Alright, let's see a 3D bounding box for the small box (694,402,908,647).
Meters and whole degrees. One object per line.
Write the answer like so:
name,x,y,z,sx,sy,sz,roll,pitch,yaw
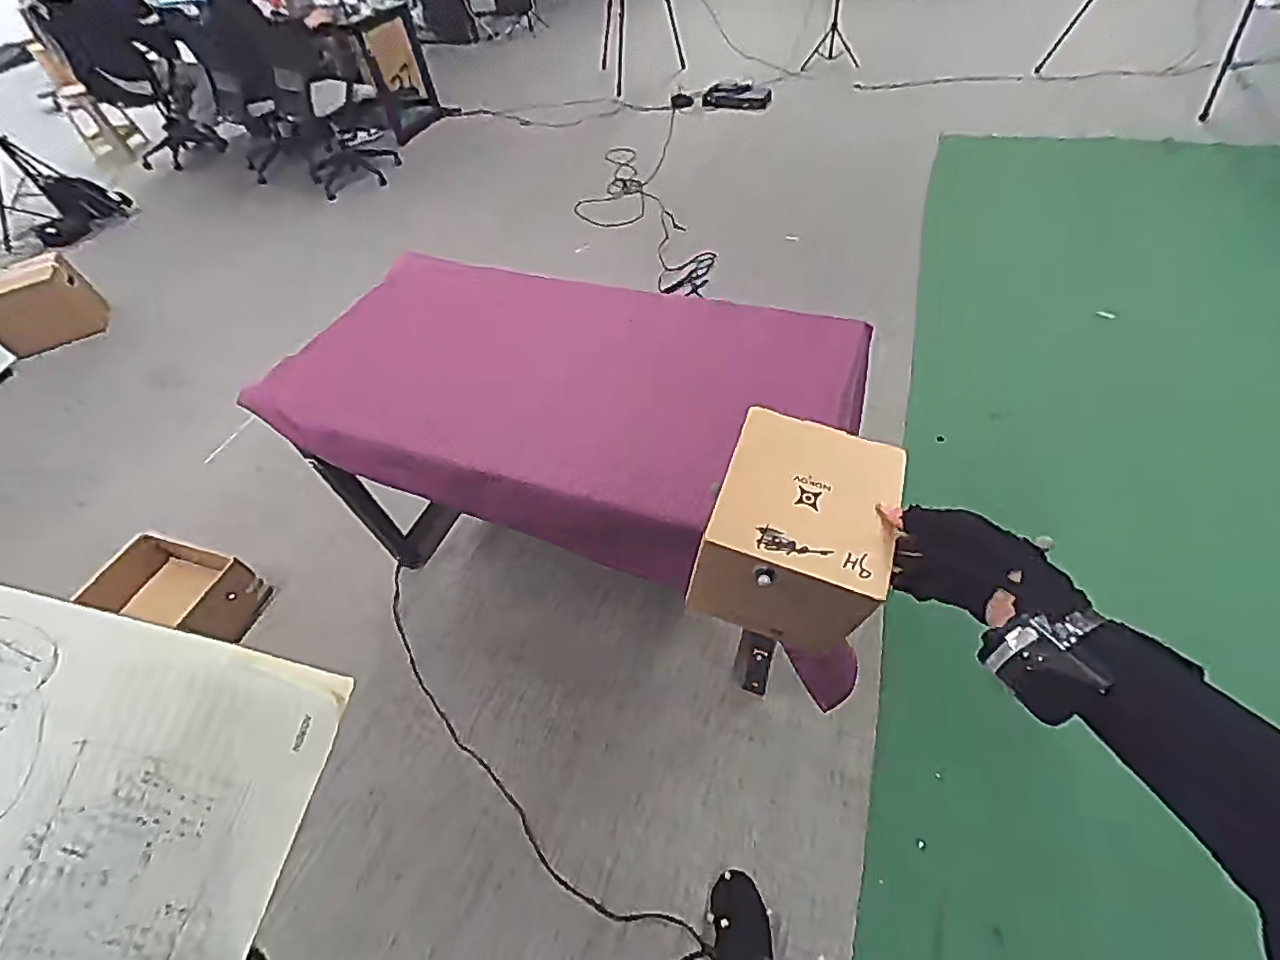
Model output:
small box,0.165,0.052,0.586,0.168,0.176,0.179,19,58,11
